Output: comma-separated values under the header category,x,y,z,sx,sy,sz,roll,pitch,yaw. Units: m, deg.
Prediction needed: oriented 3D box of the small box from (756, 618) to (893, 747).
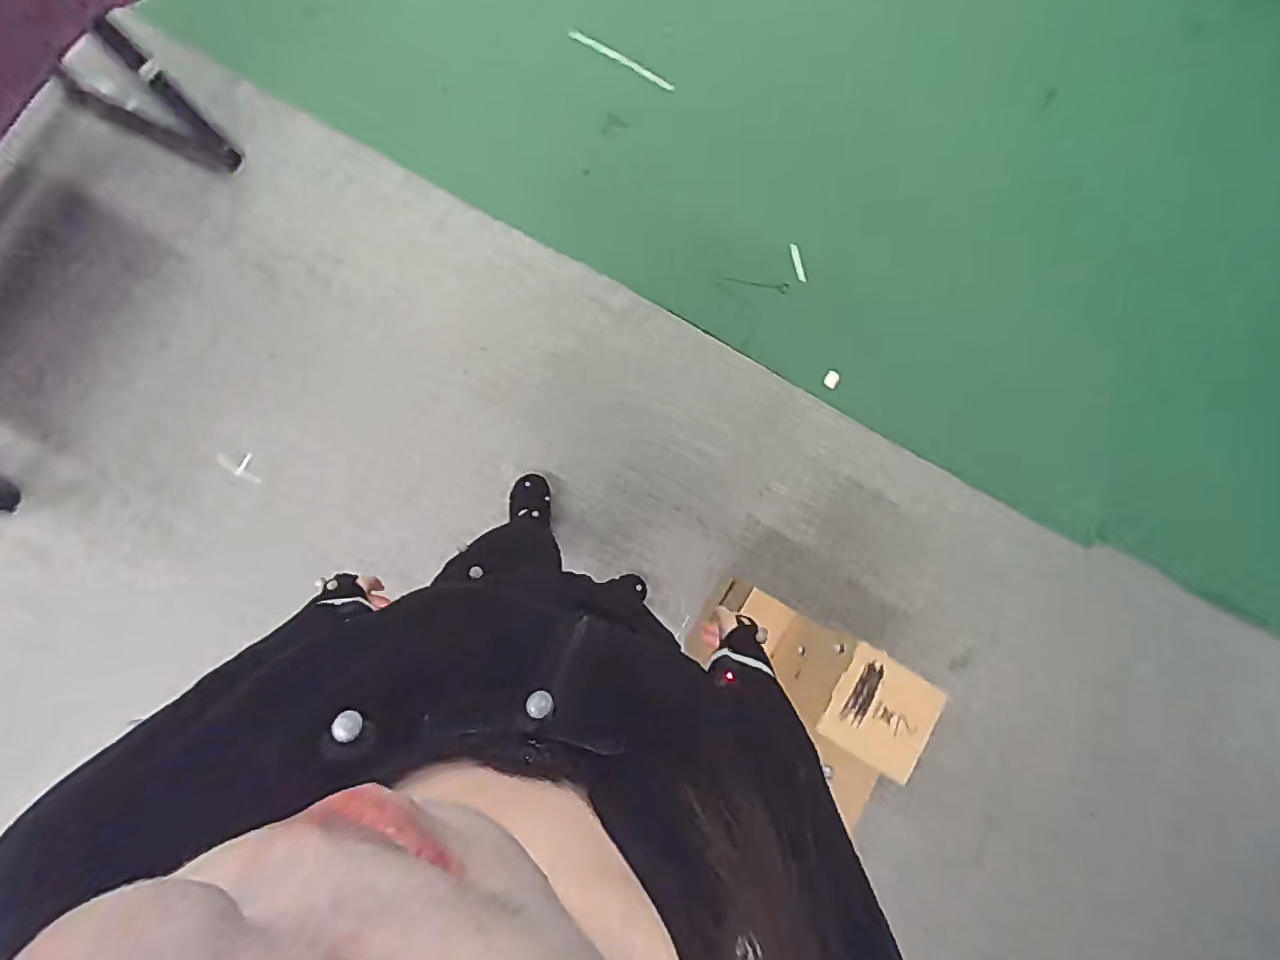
category,x,y,z,sx,sy,sz,roll,pitch,yaw
small box,0.373,0.407,1.125,0.179,0.176,0.168,37,82,-1
